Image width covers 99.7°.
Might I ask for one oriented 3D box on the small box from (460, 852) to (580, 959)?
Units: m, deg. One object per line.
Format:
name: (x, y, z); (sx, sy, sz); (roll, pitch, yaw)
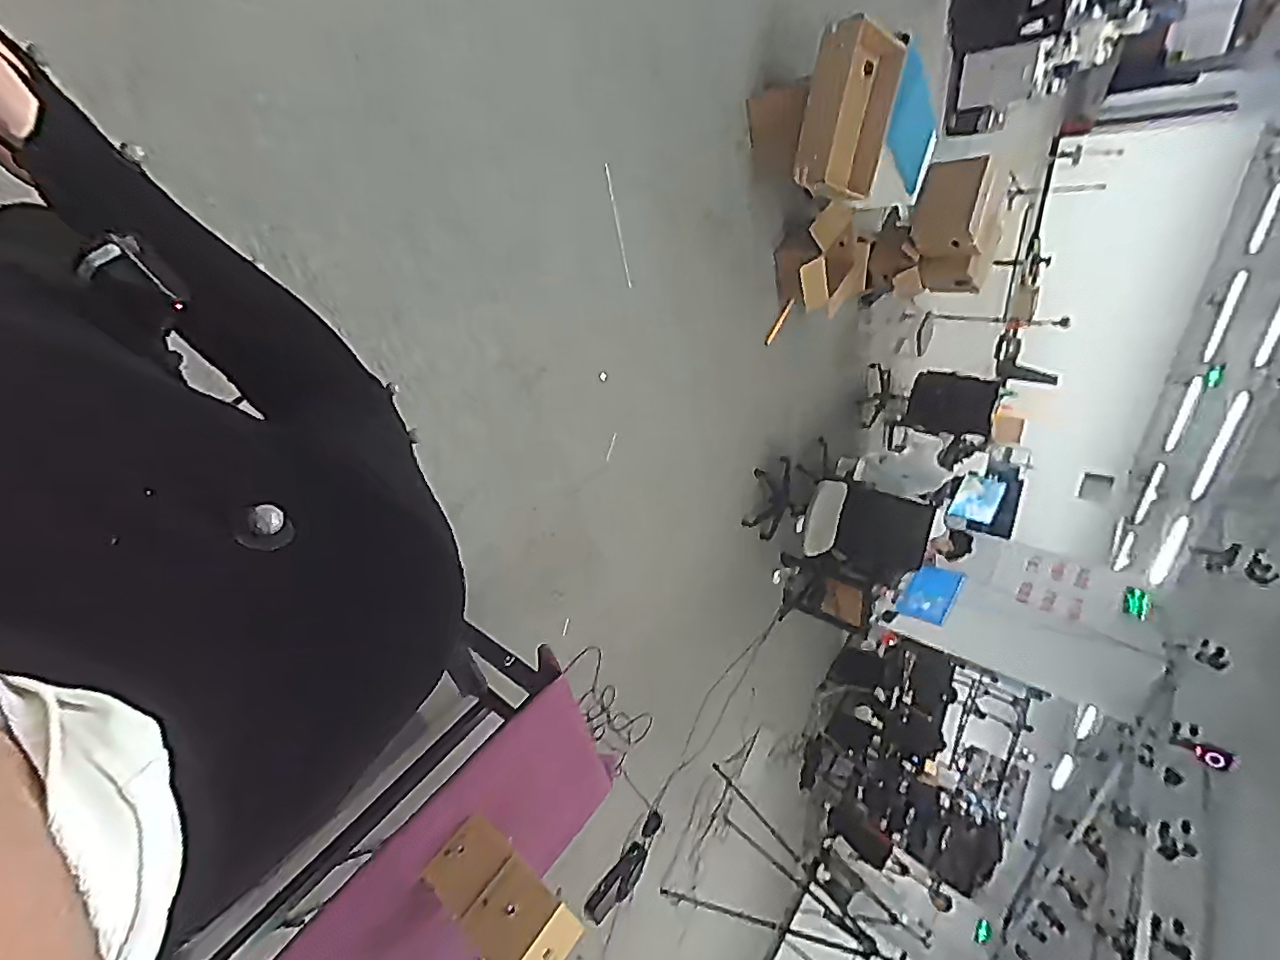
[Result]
small box: (-0.265, 0.972, 1.195); (0.168, 0.176, 0.179); (-42, 134, -33)
